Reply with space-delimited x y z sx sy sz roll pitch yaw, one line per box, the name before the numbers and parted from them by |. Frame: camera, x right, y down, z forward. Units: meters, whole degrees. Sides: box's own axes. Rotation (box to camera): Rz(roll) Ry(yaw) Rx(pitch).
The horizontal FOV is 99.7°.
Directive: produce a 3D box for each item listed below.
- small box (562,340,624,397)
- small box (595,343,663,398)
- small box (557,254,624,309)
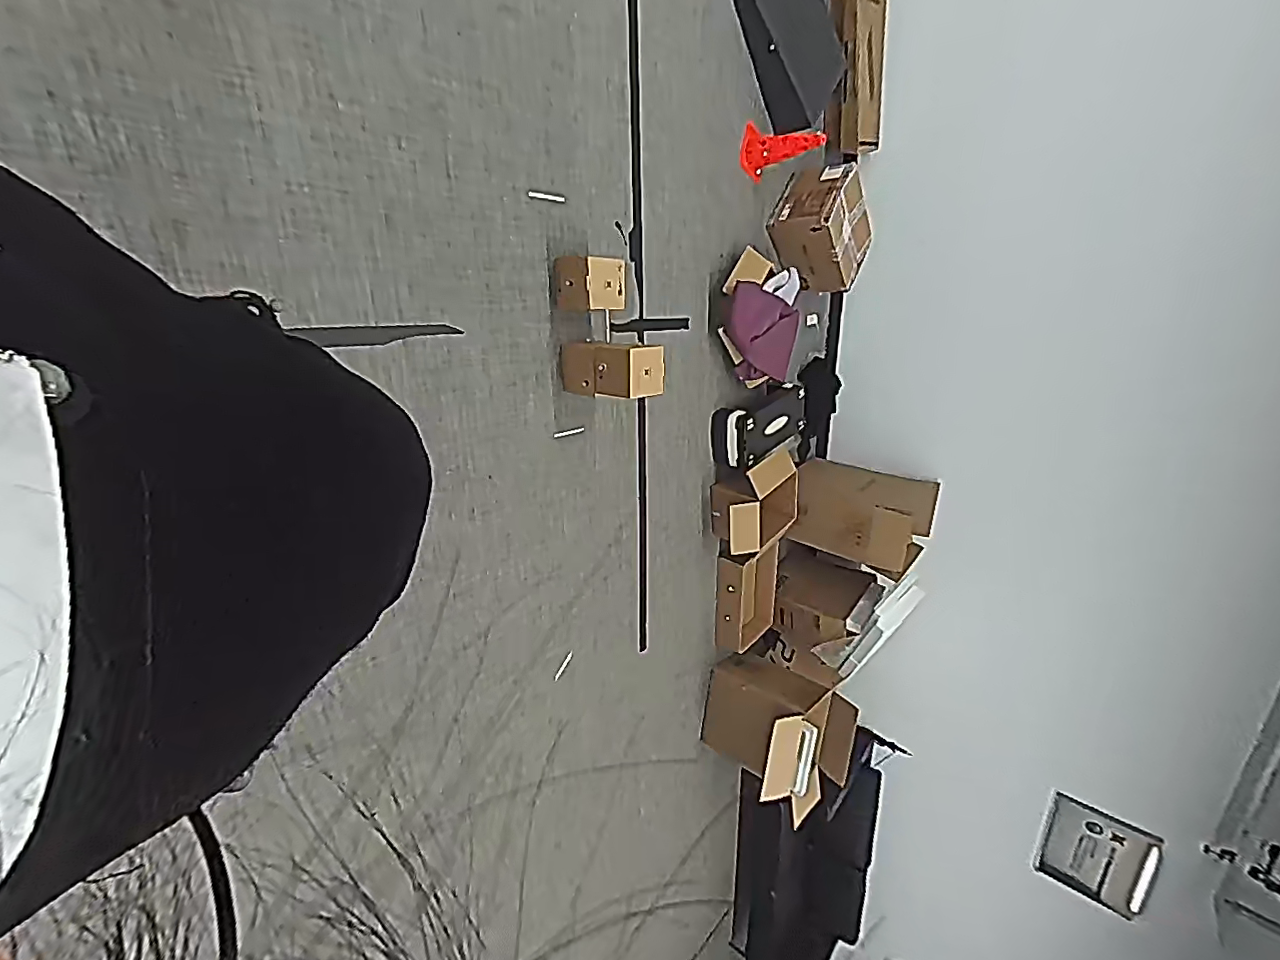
small box | -0.168 -0.410 1.965 0.168 0.176 0.179 -23 119 -45
small box | -0.038 -0.382 1.870 0.179 0.176 0.168 -19 116 -44
small box | -0.175 -0.678 1.865 0.179 0.176 0.168 -18 115 -46
